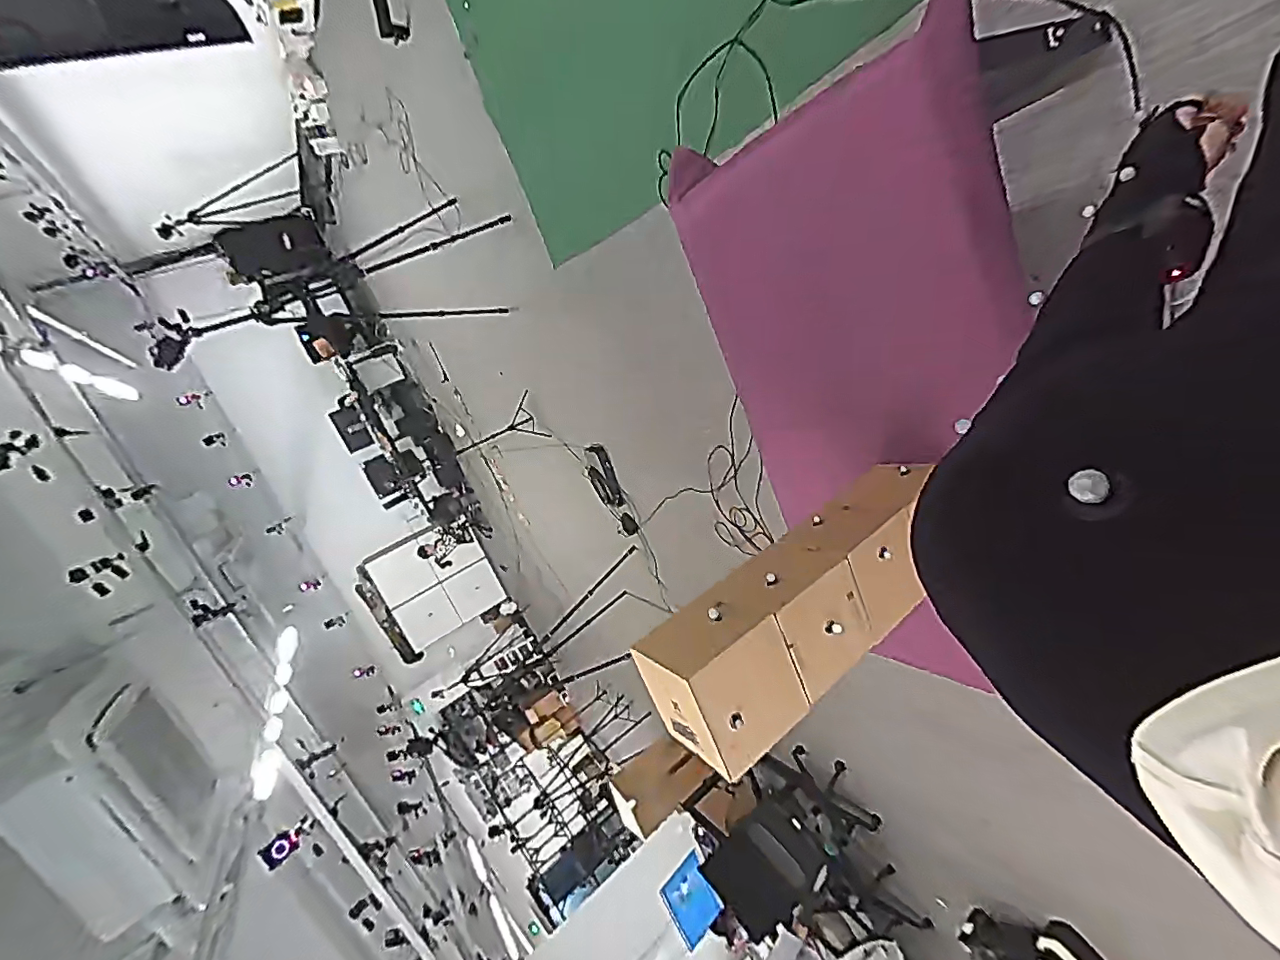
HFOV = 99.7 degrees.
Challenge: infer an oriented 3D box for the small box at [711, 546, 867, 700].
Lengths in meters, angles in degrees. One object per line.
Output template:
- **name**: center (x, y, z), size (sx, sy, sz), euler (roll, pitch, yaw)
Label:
- **small box**: center (0.250, 0.223, 0.900), size (0.179, 0.176, 0.168), euler (0, 116, 61)

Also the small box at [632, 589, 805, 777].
- **small box**: center (0.121, 0.295, 0.825), size (0.168, 0.176, 0.179), euler (1, 116, 61)

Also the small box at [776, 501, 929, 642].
- **small box**: center (0.380, 0.151, 0.966), size (0.168, 0.176, 0.179), euler (3, 119, 60)
